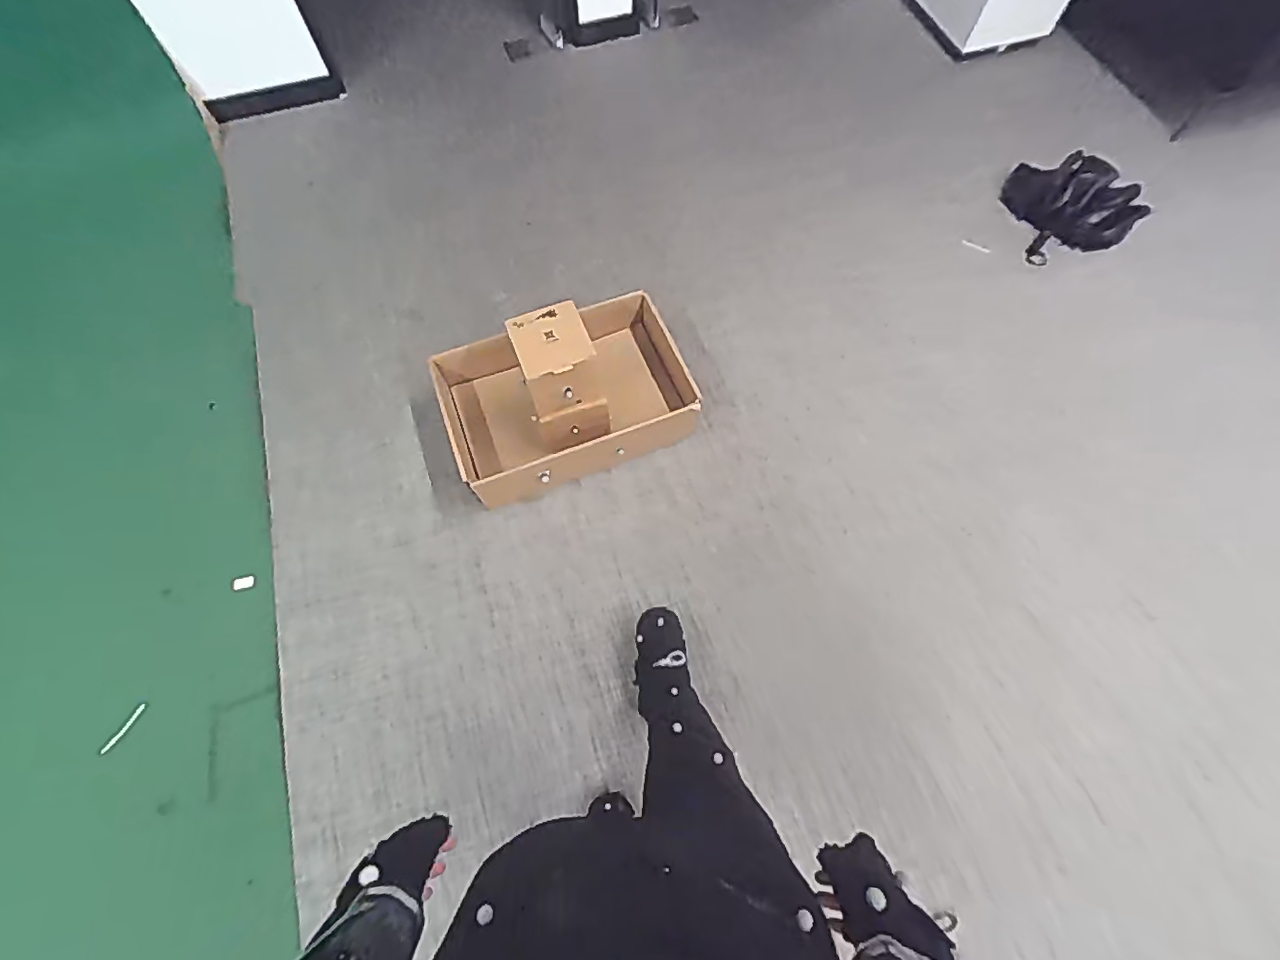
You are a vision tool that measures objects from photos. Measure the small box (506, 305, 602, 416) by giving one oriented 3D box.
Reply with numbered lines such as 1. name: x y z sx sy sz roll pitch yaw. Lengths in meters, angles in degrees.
1. small box: -0.196 -0.272 1.276 0.168 0.176 0.179 -20 68 -8

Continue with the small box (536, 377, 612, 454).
1. small box: -0.181 -0.194 1.419 0.179 0.176 0.168 -21 68 -9
